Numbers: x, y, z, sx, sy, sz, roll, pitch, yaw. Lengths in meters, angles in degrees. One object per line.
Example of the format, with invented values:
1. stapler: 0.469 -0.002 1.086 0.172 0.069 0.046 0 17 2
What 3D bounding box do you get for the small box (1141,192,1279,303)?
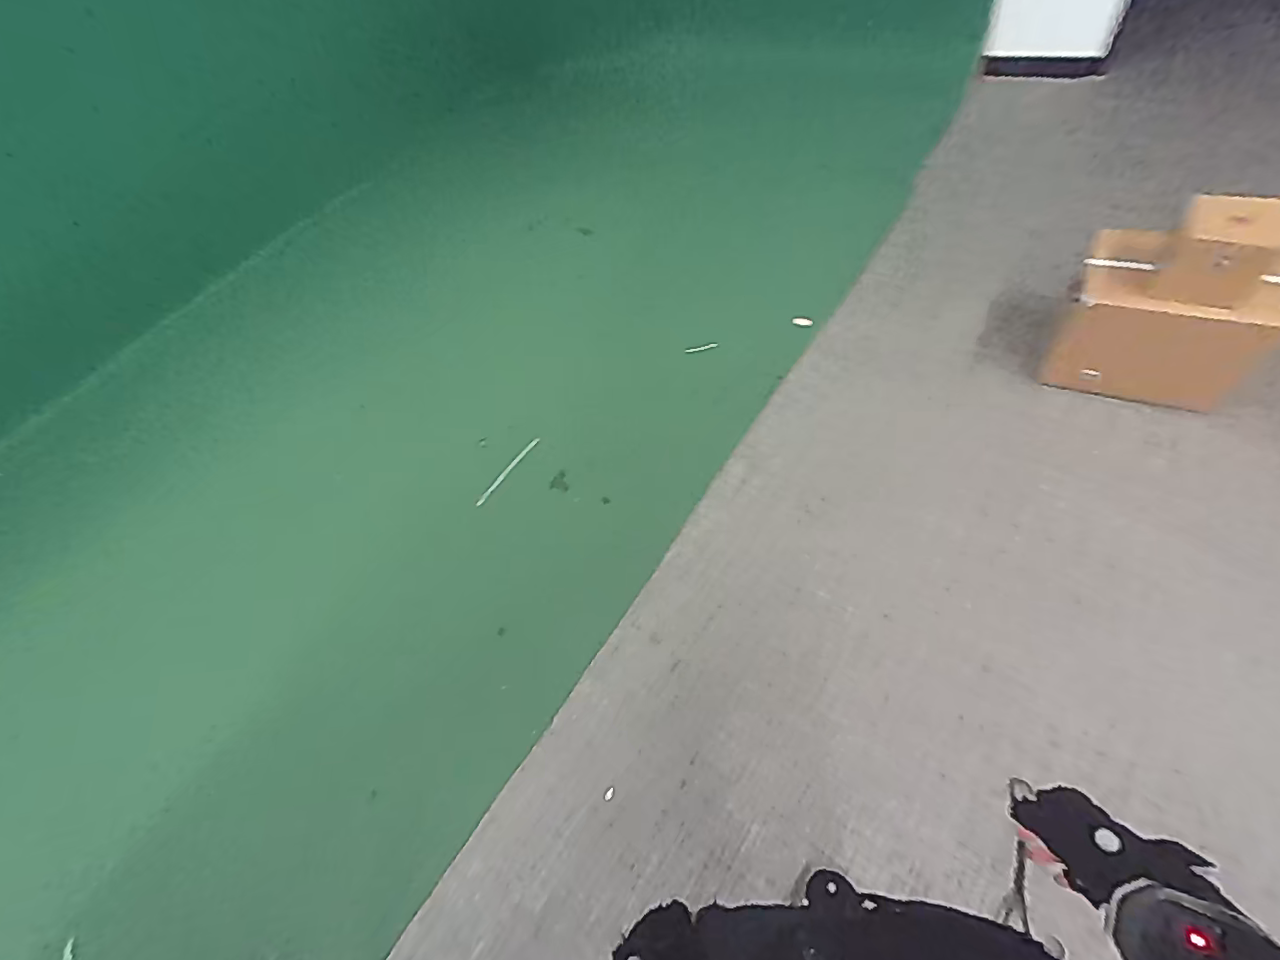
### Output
1. small box: 1.320 -0.537 1.256 0.179 0.176 0.168 21 67 24
